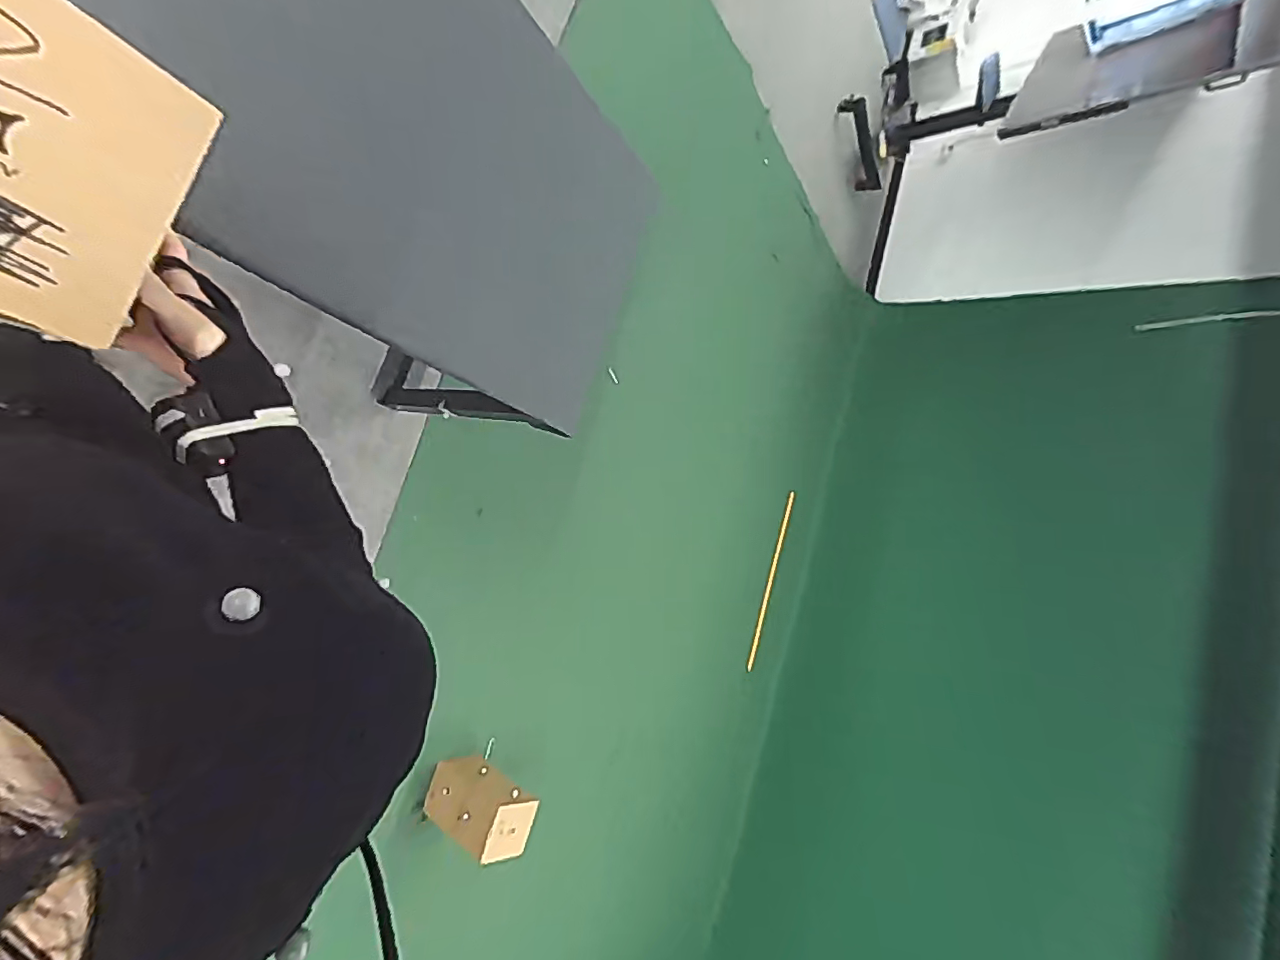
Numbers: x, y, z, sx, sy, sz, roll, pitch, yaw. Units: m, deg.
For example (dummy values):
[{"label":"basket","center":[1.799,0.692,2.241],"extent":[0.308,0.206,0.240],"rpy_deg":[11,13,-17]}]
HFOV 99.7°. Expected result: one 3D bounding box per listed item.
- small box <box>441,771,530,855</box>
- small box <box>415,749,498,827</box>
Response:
[{"label":"small box","center":[-0.490,1.044,1.711],"extent":[0.179,0.176,0.168],"rpy_deg":[33,72,-50]},{"label":"small box","center":[-0.619,1.023,1.813],"extent":[0.179,0.176,0.168],"rpy_deg":[29,75,-51]}]
